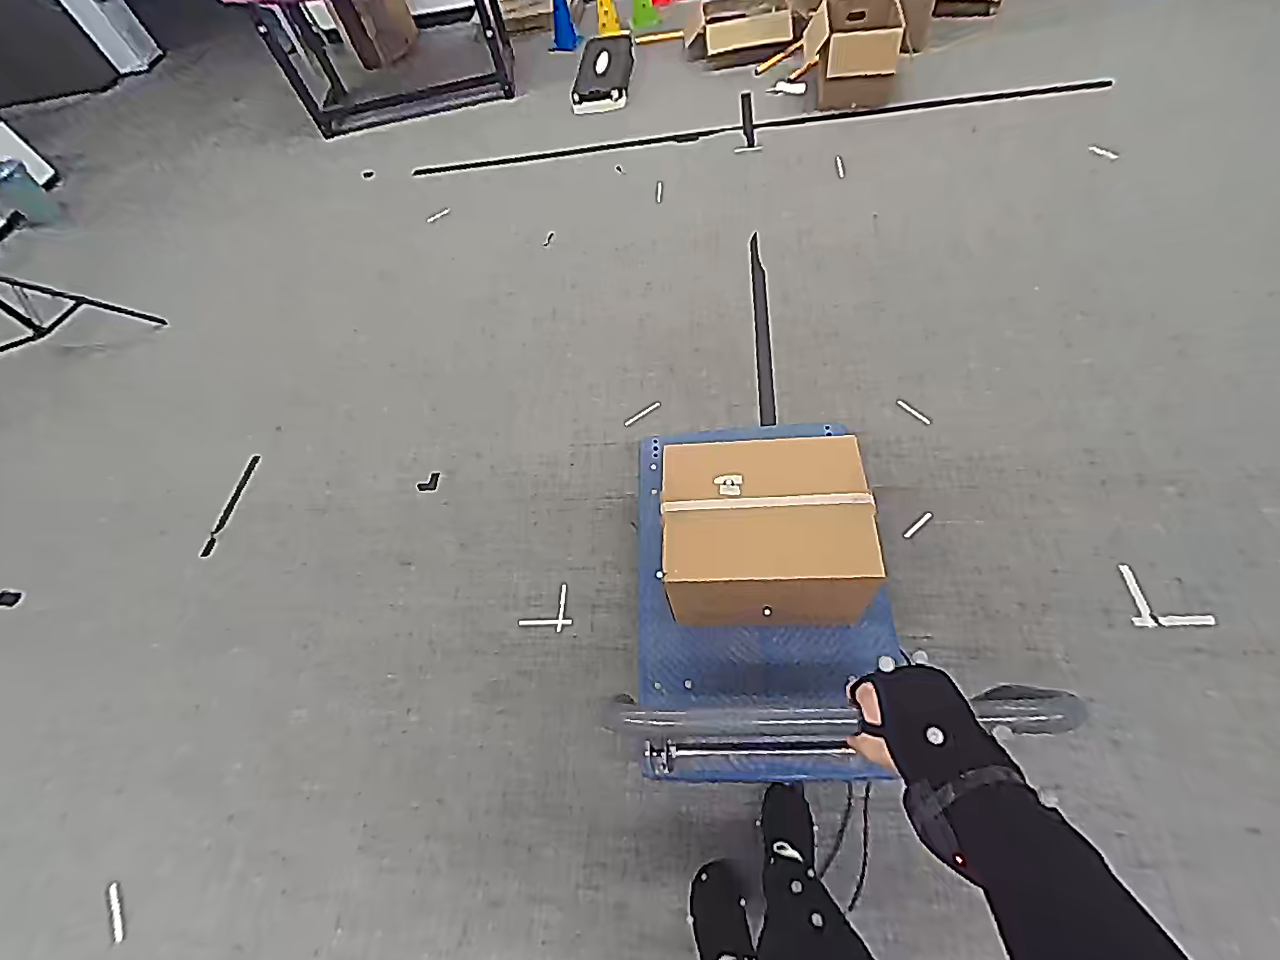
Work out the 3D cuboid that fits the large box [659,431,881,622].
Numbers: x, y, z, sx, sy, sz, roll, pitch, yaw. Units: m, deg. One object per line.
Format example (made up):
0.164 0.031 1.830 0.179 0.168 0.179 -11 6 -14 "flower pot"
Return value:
0.262 0.118 1.193 0.408 0.320 0.320 -4 58 9 "large box"
